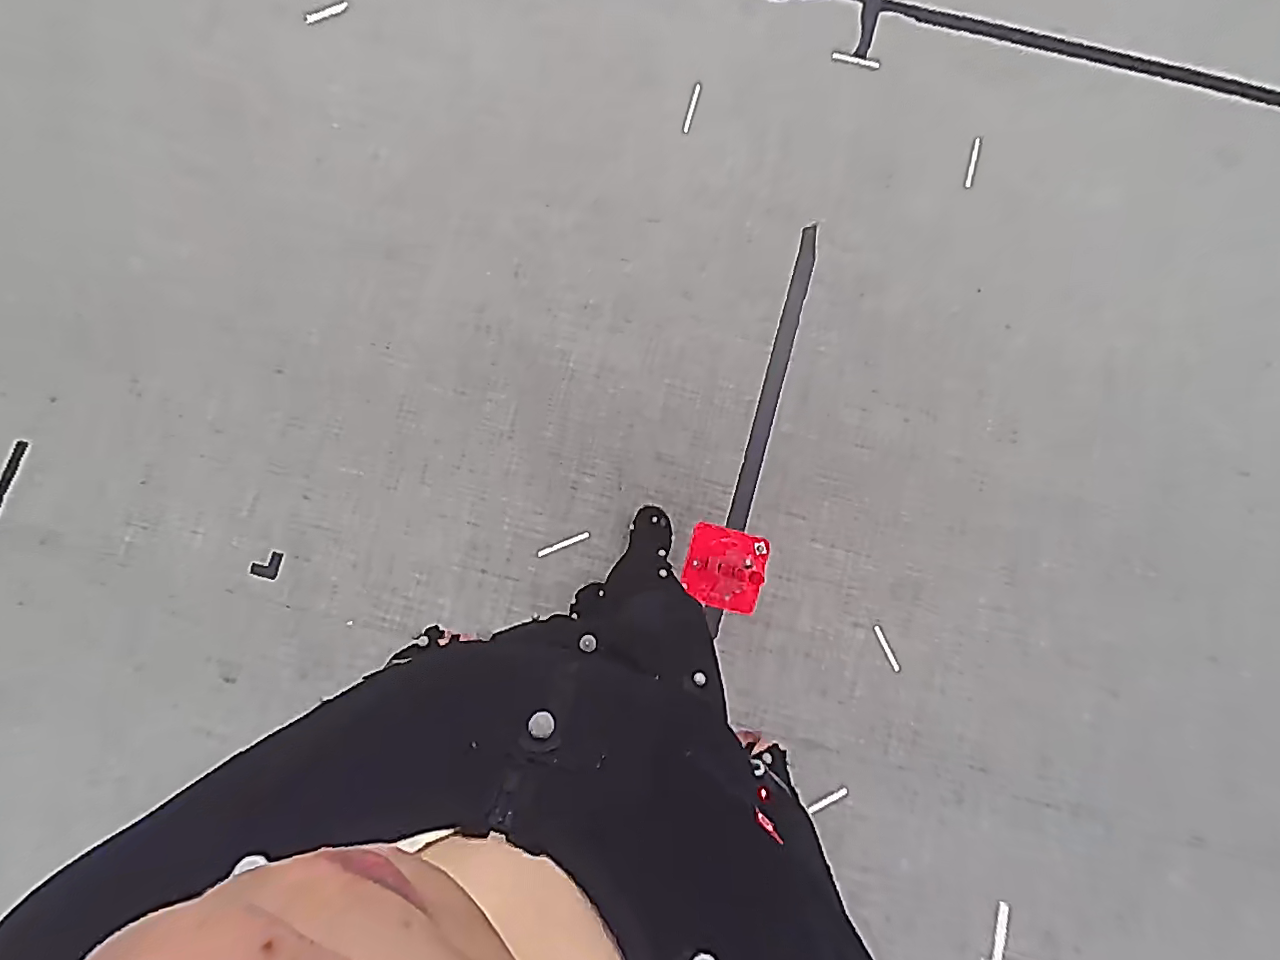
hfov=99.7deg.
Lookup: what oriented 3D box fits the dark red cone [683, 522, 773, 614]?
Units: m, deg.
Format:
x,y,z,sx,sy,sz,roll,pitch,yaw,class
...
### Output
x,y,z,sx,sy,sz,roll,pitch,yaw,class
0.216,0.203,1.181,0.201,0.394,0.202,14,84,2,dark red cone
